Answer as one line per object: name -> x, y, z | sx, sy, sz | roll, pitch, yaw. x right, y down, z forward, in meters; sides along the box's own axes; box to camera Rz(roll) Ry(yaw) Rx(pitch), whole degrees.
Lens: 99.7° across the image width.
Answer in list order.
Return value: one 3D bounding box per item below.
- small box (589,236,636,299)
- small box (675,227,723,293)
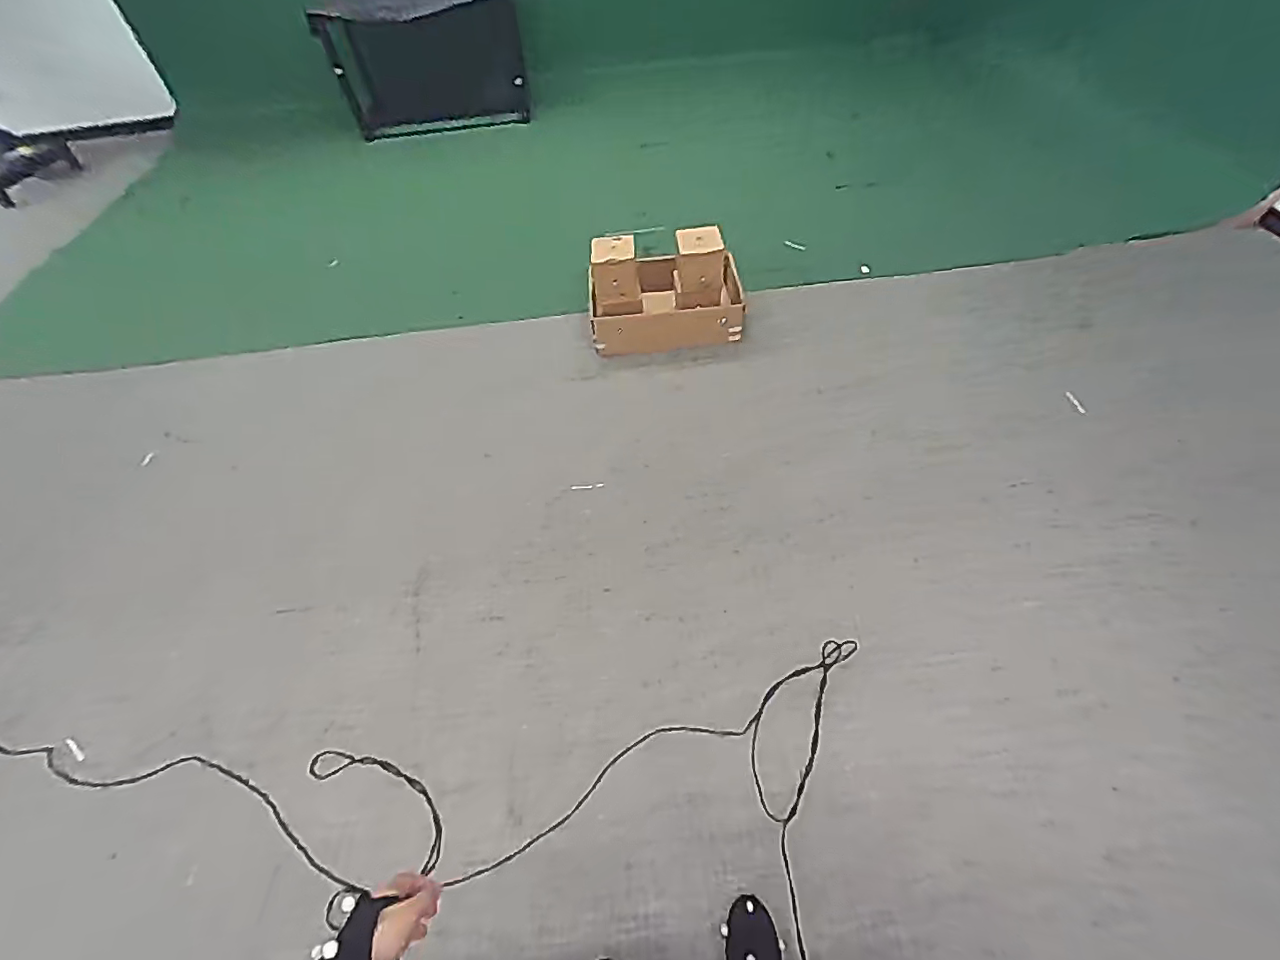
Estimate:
small box -> -0.104, -0.824, 2.112 | 0.168, 0.176, 0.179 | -4, 54, 2
small box -> 0.225, -0.858, 2.108 | 0.168, 0.176, 0.179 | -7, 53, 1
